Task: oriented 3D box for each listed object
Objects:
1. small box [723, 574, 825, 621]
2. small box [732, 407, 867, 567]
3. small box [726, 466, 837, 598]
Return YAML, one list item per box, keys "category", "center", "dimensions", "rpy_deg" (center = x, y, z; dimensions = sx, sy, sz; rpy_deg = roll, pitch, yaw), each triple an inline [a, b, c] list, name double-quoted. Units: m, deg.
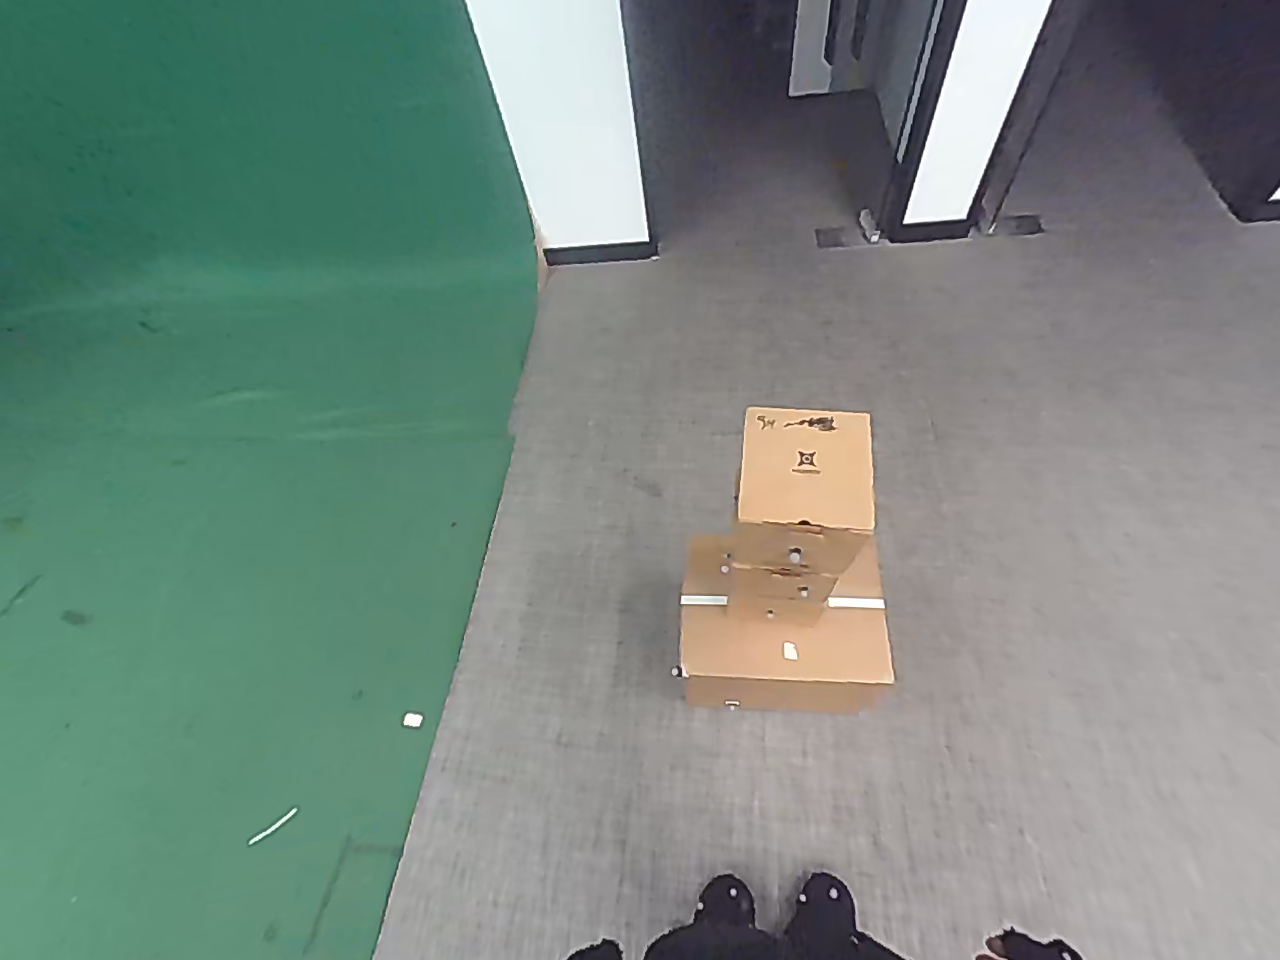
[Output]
- category: "small box"
  center: [0.261, 0.171, 1.061]
  dimensions: [0.179, 0.176, 0.168]
  rpy_deg: [6, 62, 12]
- category: "small box"
  center: [0.223, 0.015, 0.781]
  dimensions: [0.168, 0.176, 0.179]
  rpy_deg: [5, 64, 10]
- category: "small box"
  center: [0.235, 0.094, 0.924]
  dimensions: [0.168, 0.176, 0.179]
  rpy_deg: [3, 62, 9]
